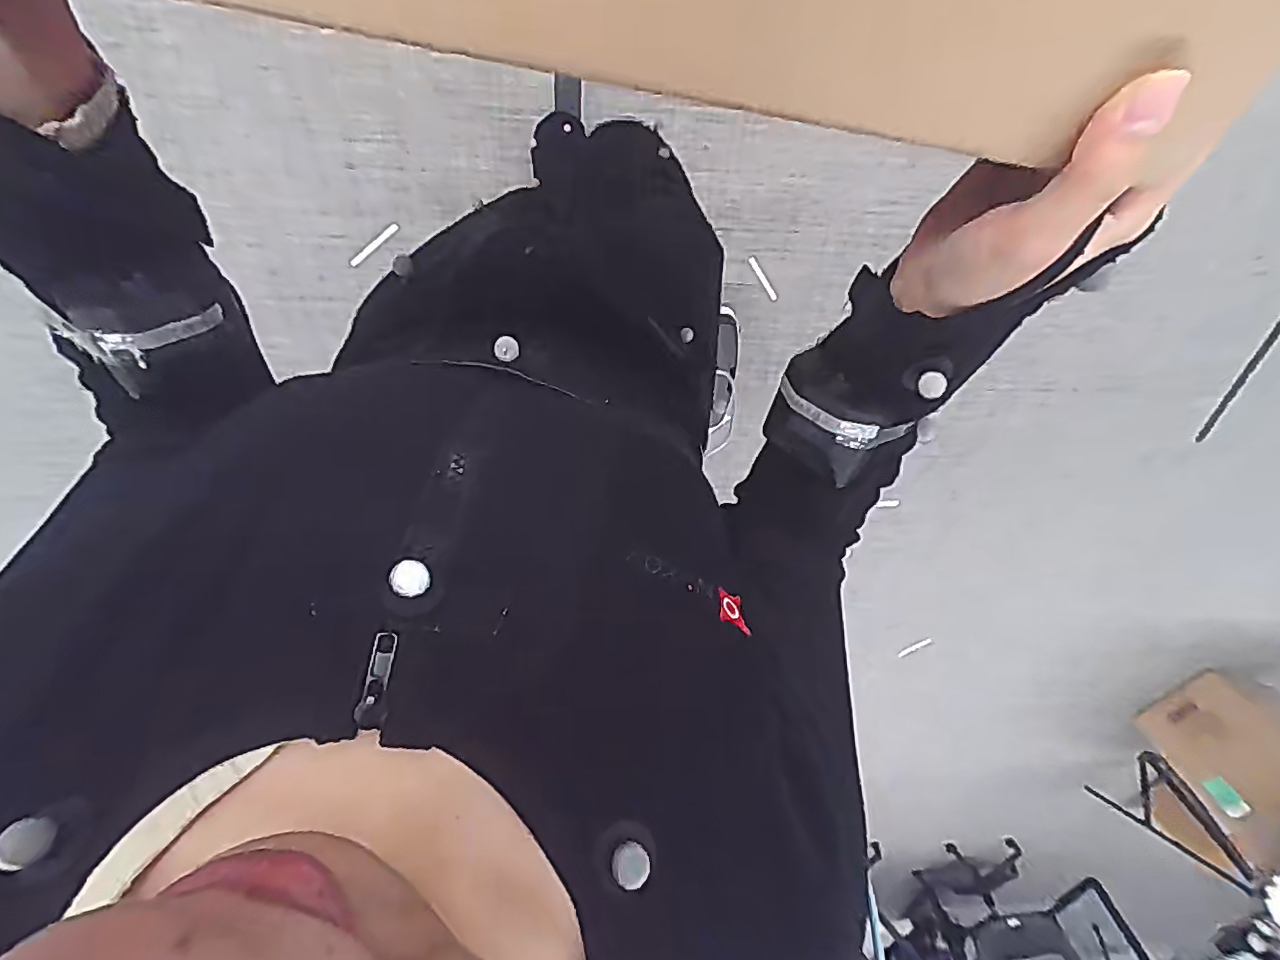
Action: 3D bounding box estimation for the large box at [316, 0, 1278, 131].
[{"bbox_3d":[0.005,-0.345,0.131,0.408,0.320,0.320,6,145,-6],"label":"large box"}]
